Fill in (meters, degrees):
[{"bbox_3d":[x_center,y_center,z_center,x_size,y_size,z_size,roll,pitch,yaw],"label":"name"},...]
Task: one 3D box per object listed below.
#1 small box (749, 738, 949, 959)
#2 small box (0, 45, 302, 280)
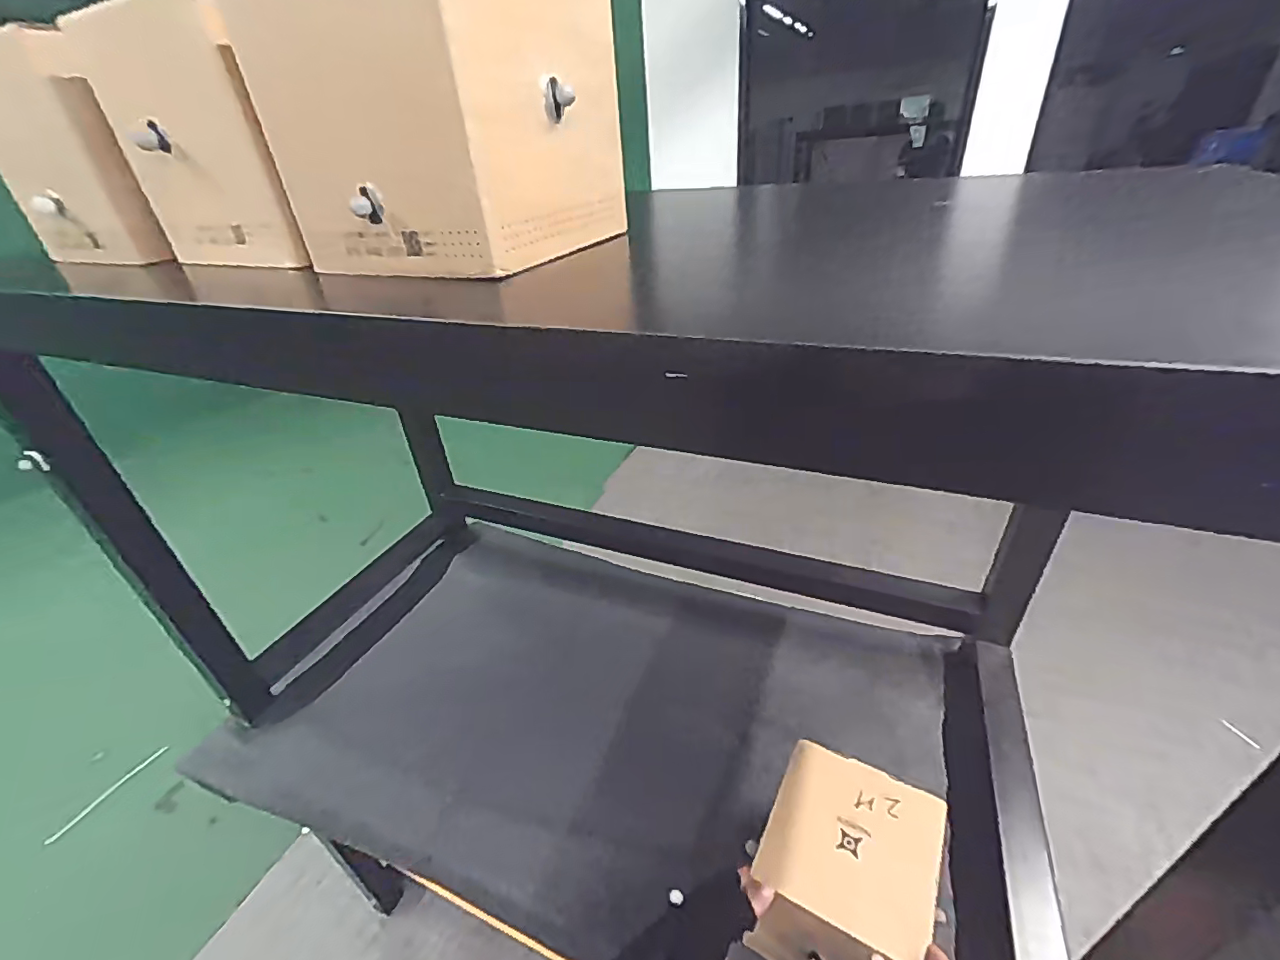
[{"bbox_3d":[0.231,0.444,0.609,0.168,0.176,0.179,15,36,28],"label":"small box"},{"bbox_3d":[-0.476,-0.308,0.535,0.168,0.176,0.179,11,36,23],"label":"small box"}]
